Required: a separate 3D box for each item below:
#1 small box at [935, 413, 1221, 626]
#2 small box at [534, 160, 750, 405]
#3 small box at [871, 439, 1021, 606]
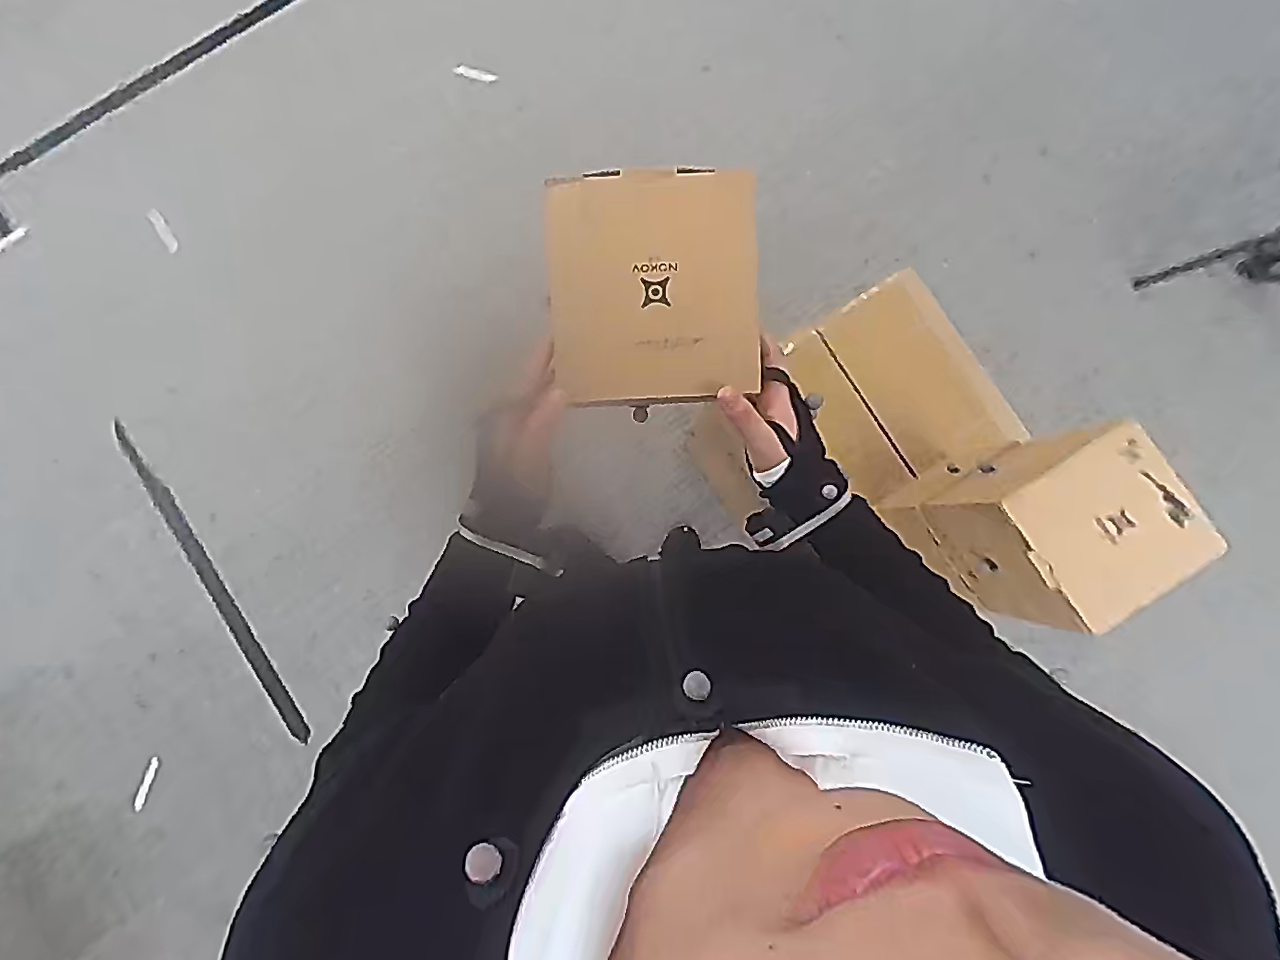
[{"bbox_3d":[0.489,0.048,0.643,0.179,0.176,0.168,-32,85,-1],"label":"small box"},{"bbox_3d":[0.000,-0.165,0.502,0.168,0.176,0.179,-4,97,-1],"label":"small box"},{"bbox_3d":[0.486,0.062,0.807,0.179,0.176,0.168,-33,85,-2],"label":"small box"}]
